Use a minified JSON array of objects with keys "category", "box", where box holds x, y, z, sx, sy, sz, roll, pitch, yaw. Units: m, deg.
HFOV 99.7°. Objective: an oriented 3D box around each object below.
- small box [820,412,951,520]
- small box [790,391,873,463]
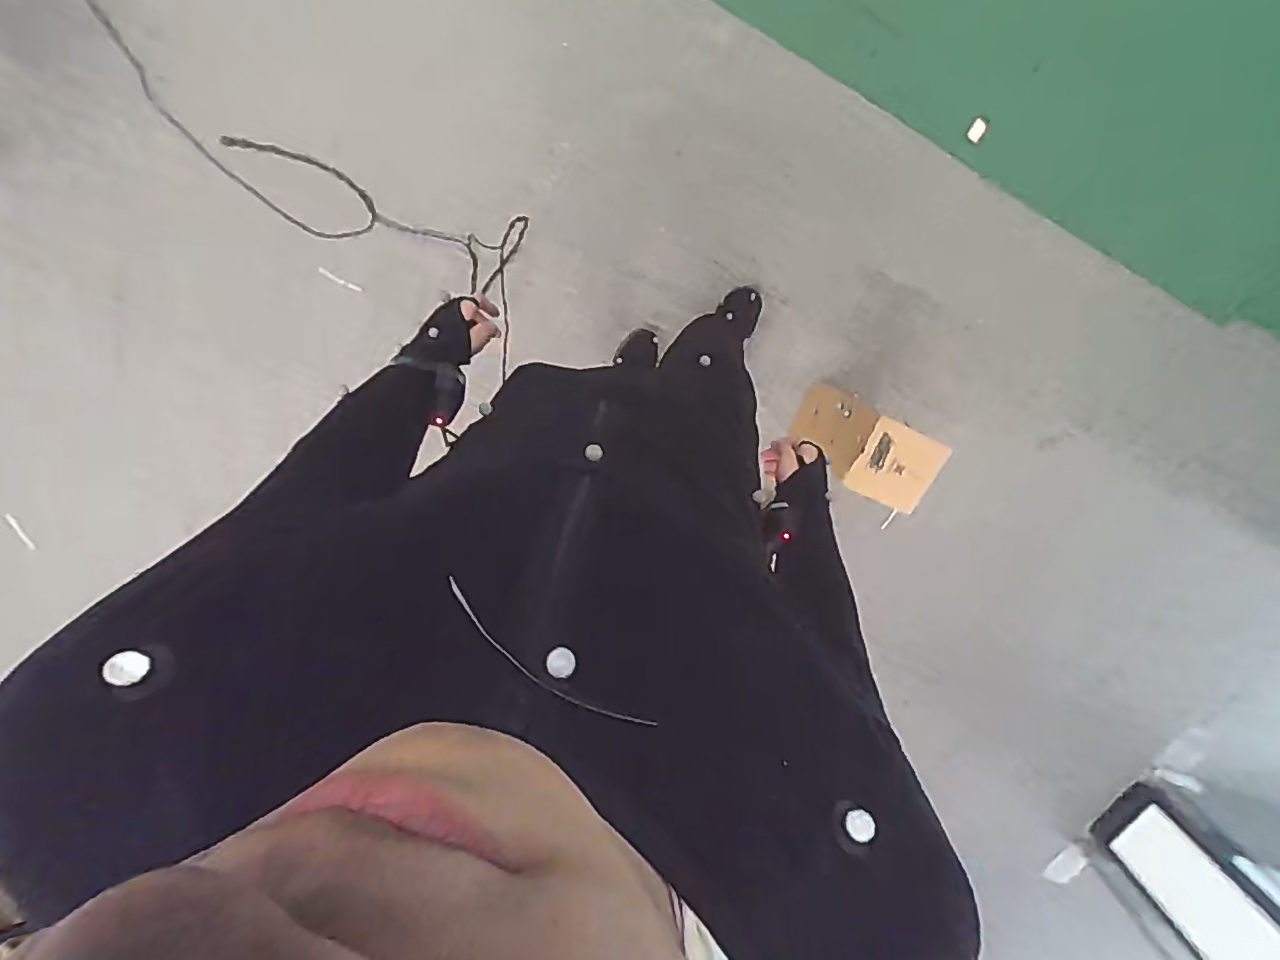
[{"category":"small box","box":[0.530,-0.039,1.200,0.179,0.176,0.168,24,106,-8]},{"category":"small box","box":[0.544,-0.132,1.515,0.168,0.176,0.179,26,107,-7]}]
